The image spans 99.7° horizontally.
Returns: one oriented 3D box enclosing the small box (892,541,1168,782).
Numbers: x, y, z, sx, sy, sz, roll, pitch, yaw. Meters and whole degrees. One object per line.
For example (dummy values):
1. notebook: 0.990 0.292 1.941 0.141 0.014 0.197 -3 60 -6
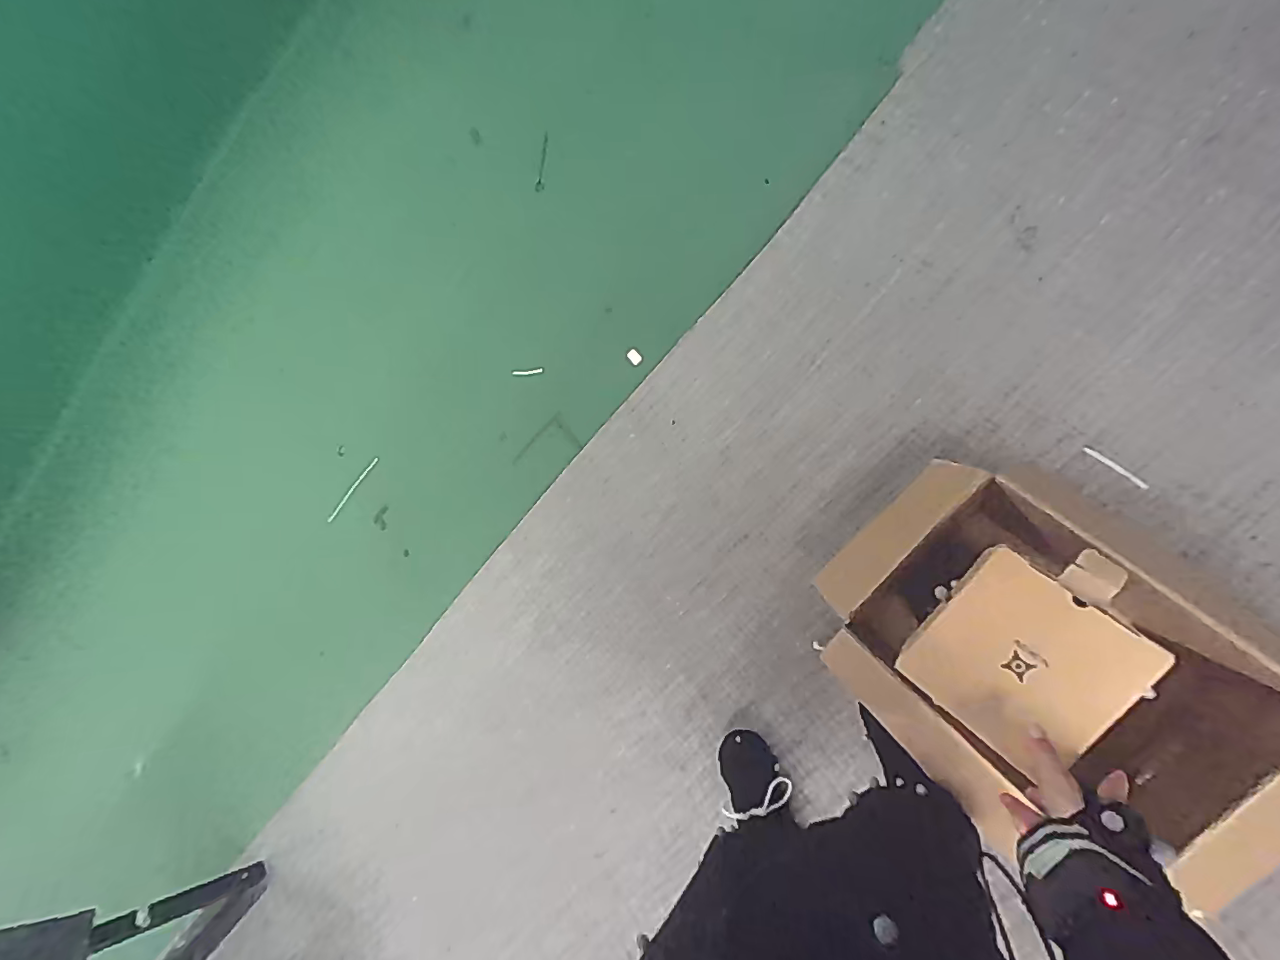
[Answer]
1. small box: 0.418 0.191 0.610 0.168 0.176 0.179 40 101 29
